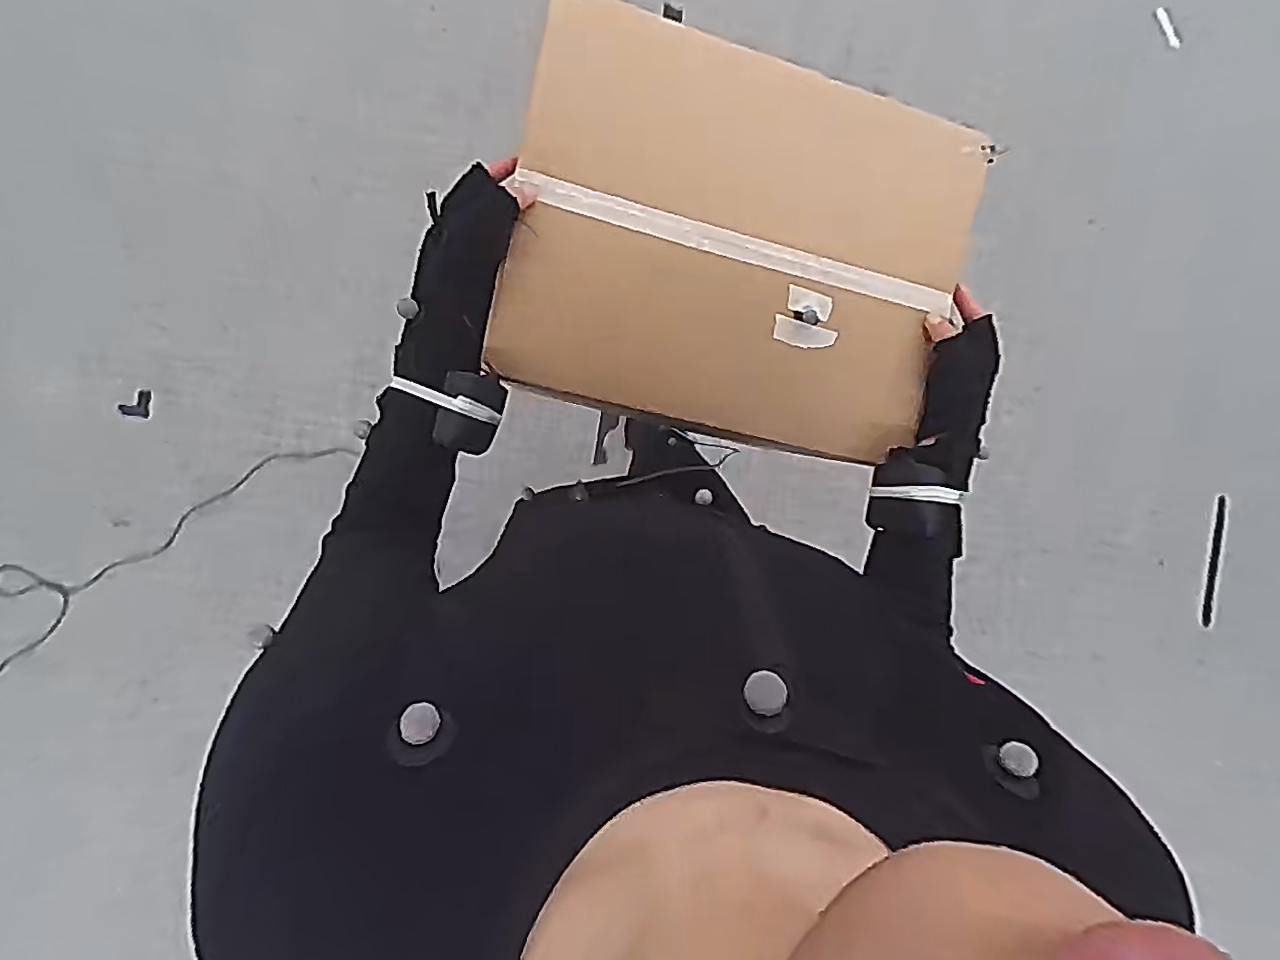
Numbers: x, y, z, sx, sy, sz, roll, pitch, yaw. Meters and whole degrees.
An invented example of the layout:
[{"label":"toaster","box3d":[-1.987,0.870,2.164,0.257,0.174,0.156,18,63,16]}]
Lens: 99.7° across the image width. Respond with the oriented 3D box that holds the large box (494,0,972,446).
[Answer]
[{"label":"large box","box3d":[0.068,-0.235,0.633,0.408,0.320,0.320,11,96,-11]}]
